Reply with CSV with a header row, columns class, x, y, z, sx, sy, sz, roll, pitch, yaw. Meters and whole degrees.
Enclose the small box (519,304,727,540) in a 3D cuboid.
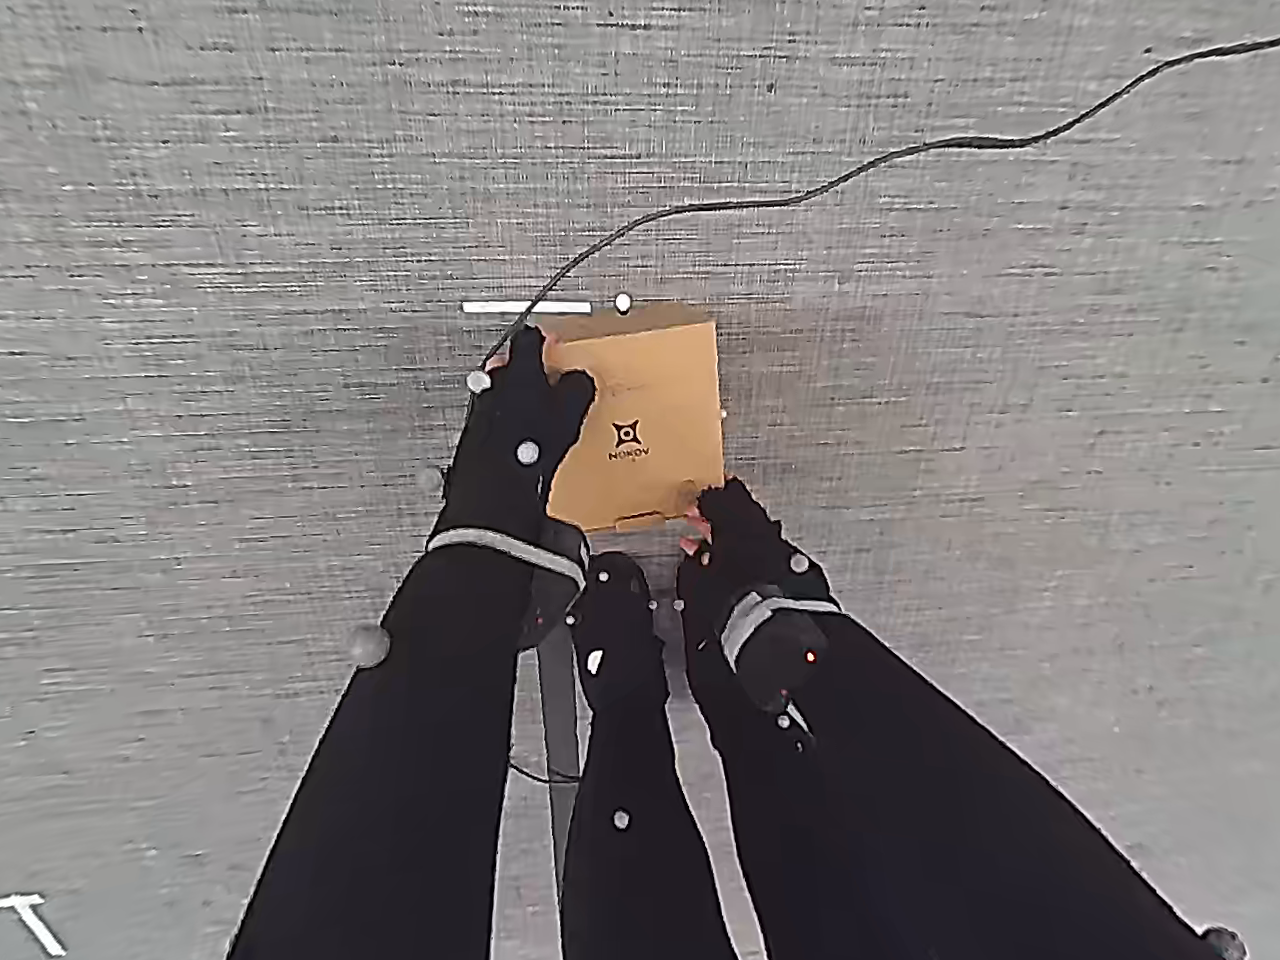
class,x,y,z,sx,sy,sz,roll,pitch,yaw
small box,-0.014,-0.066,0.536,0.168,0.176,0.179,-8,115,-3
